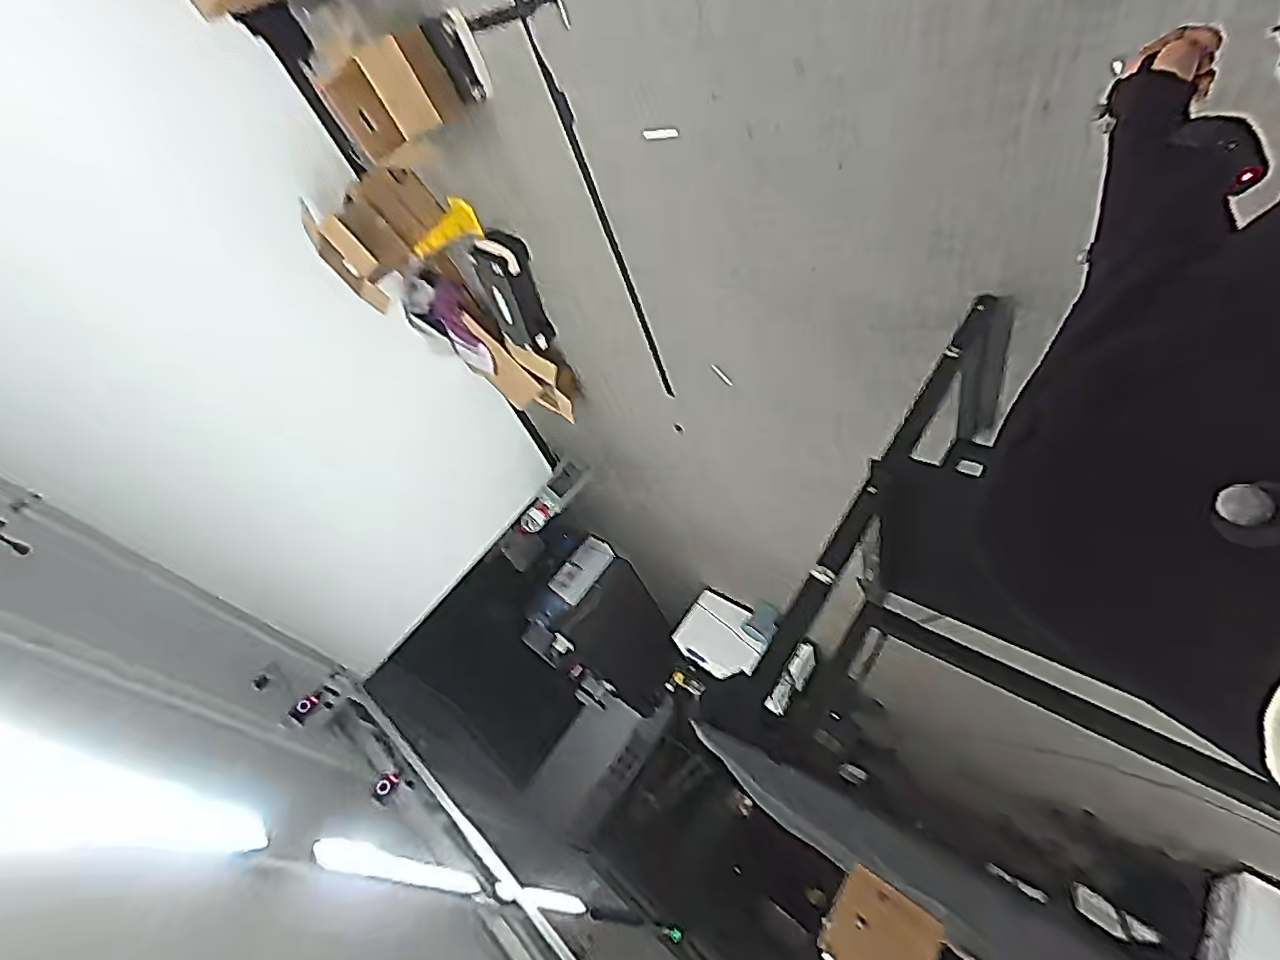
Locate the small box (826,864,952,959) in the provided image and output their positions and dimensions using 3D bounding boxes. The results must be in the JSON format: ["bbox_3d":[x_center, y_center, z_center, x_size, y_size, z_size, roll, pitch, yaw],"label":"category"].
[{"bbox_3d":[0.479,0.879,1.039,0.168,0.176,0.179,22,152,39],"label":"small box"}]
